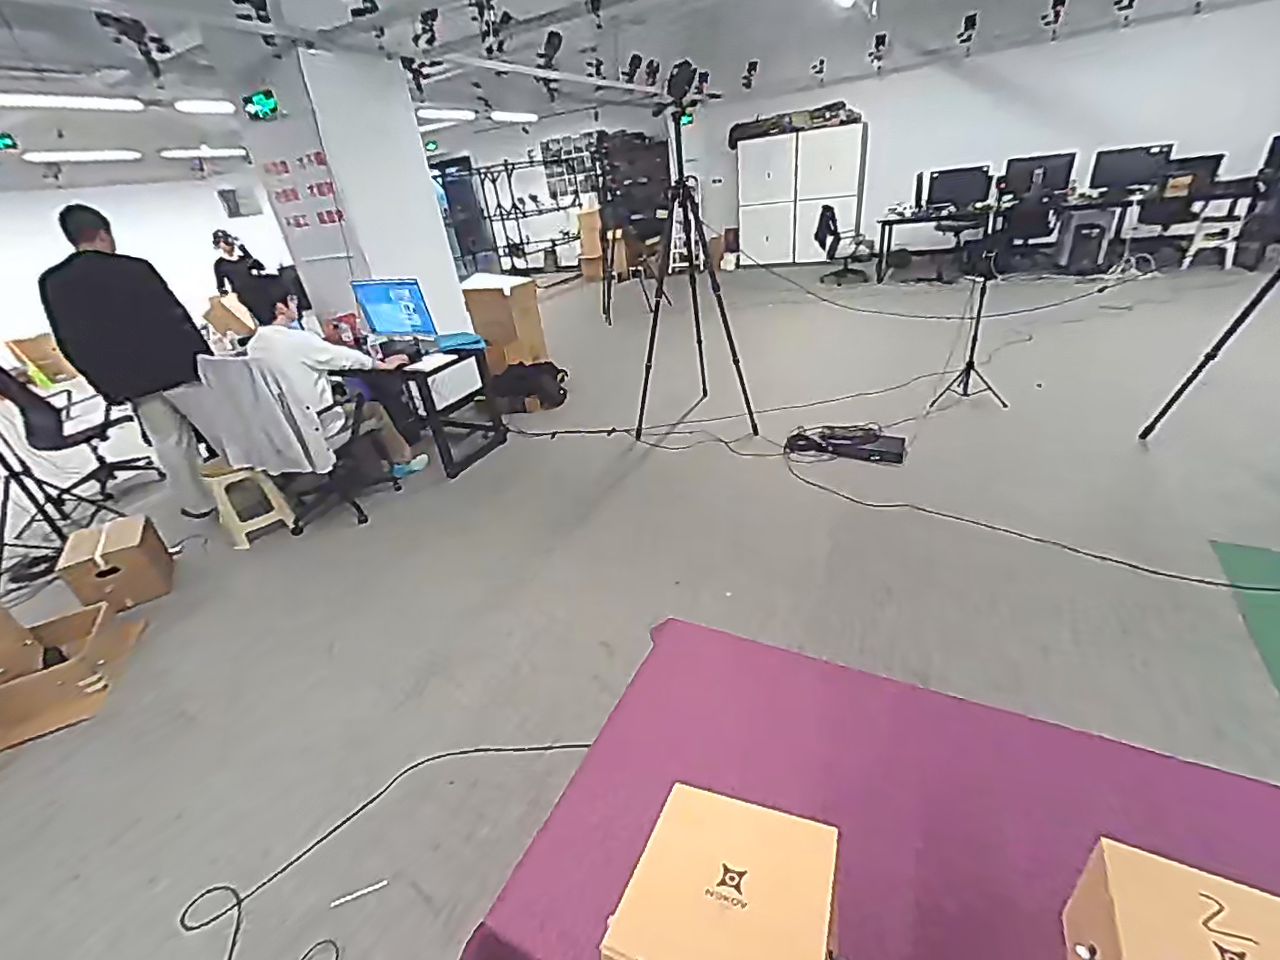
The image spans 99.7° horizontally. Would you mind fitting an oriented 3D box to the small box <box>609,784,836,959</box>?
[{"bbox_3d":[0.086,0.434,0.501,0.168,0.176,0.179,2,17,24],"label":"small box"}]
